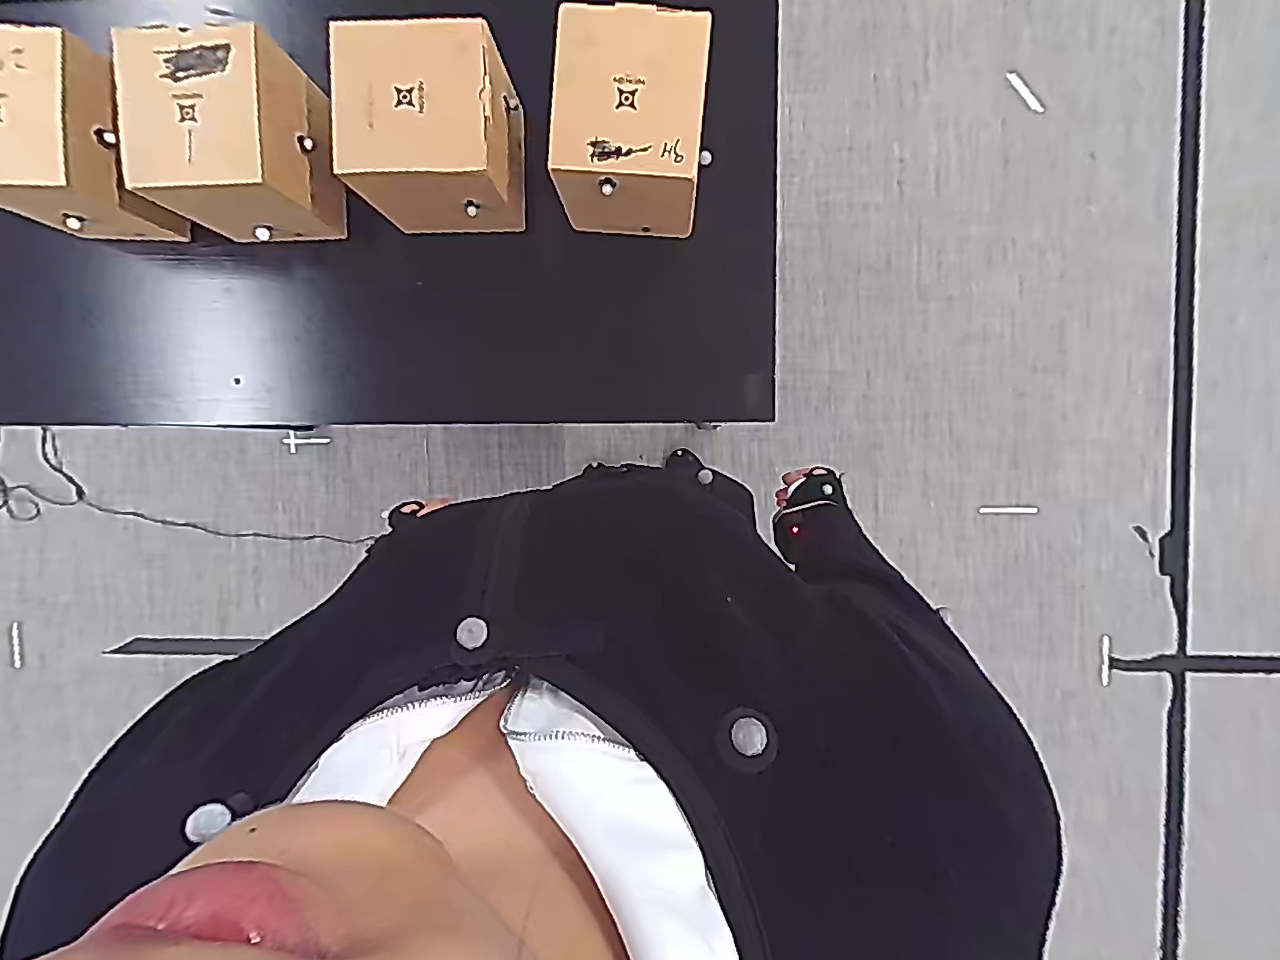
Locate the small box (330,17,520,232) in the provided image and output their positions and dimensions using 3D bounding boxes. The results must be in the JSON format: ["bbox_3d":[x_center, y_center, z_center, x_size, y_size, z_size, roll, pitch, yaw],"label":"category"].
[{"bbox_3d":[-0.252,-0.426,0.675,0.179,0.176,0.168,0,92,3],"label":"small box"}]

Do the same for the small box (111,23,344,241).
[{"bbox_3d":[-0.501,-0.423,0.682,0.168,0.176,0.179,-1,95,1],"label":"small box"}]

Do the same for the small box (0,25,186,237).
[{"bbox_3d":[-0.725,-0.429,0.691,0.168,0.176,0.179,3,93,1],"label":"small box"}]

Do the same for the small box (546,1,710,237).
[{"bbox_3d":[-0.011,-0.425,0.663,0.168,0.176,0.179,5,93,2],"label":"small box"}]
